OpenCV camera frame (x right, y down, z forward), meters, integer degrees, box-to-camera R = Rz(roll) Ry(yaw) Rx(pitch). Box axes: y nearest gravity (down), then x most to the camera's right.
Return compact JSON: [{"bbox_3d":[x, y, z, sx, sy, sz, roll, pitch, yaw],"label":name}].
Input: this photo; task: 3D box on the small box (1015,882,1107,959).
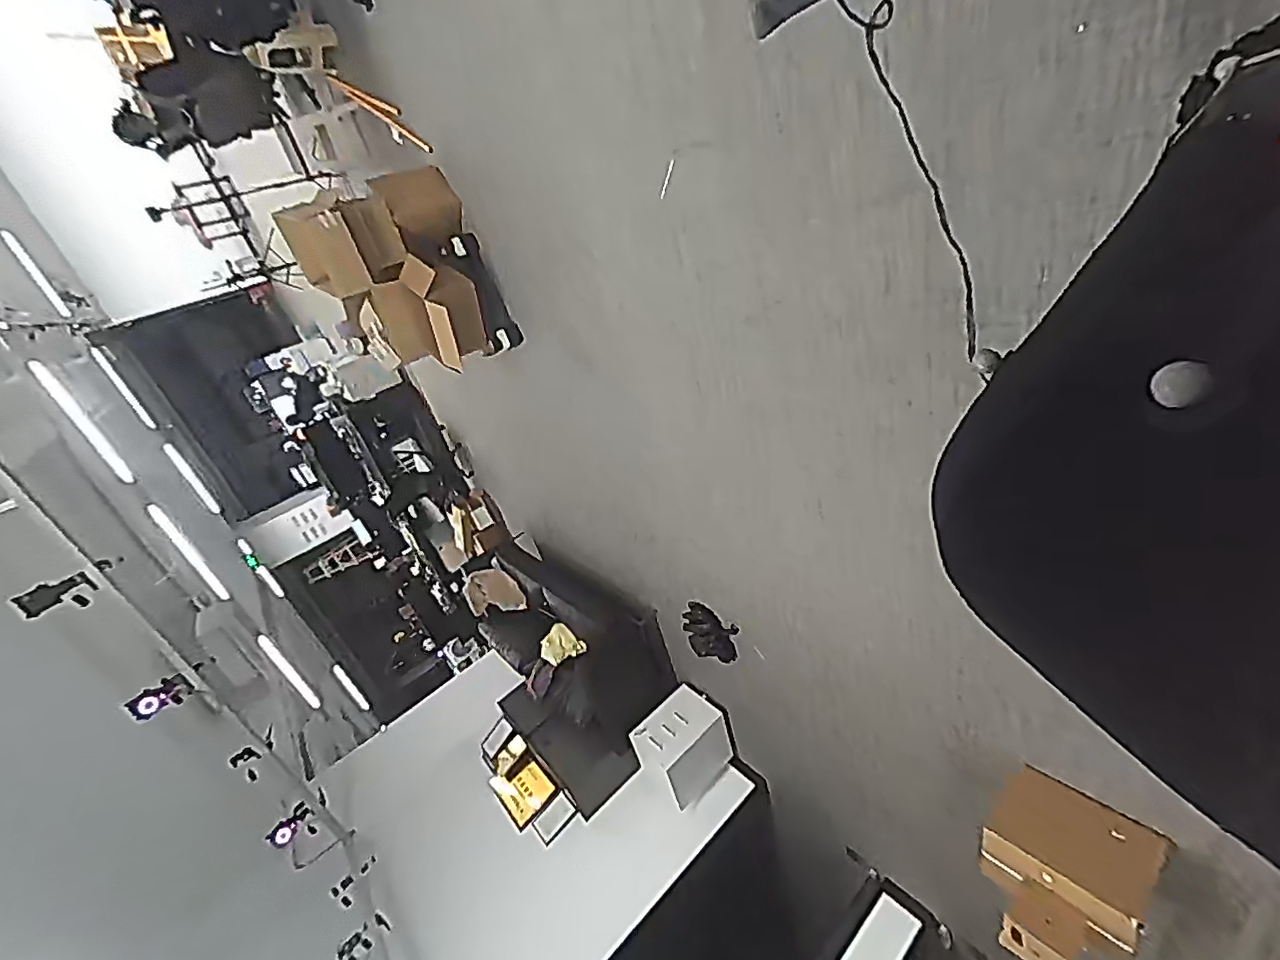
[{"bbox_3d":[1.310,1.407,1.685,0.179,0.176,0.168,18,128,51],"label":"small box"}]
